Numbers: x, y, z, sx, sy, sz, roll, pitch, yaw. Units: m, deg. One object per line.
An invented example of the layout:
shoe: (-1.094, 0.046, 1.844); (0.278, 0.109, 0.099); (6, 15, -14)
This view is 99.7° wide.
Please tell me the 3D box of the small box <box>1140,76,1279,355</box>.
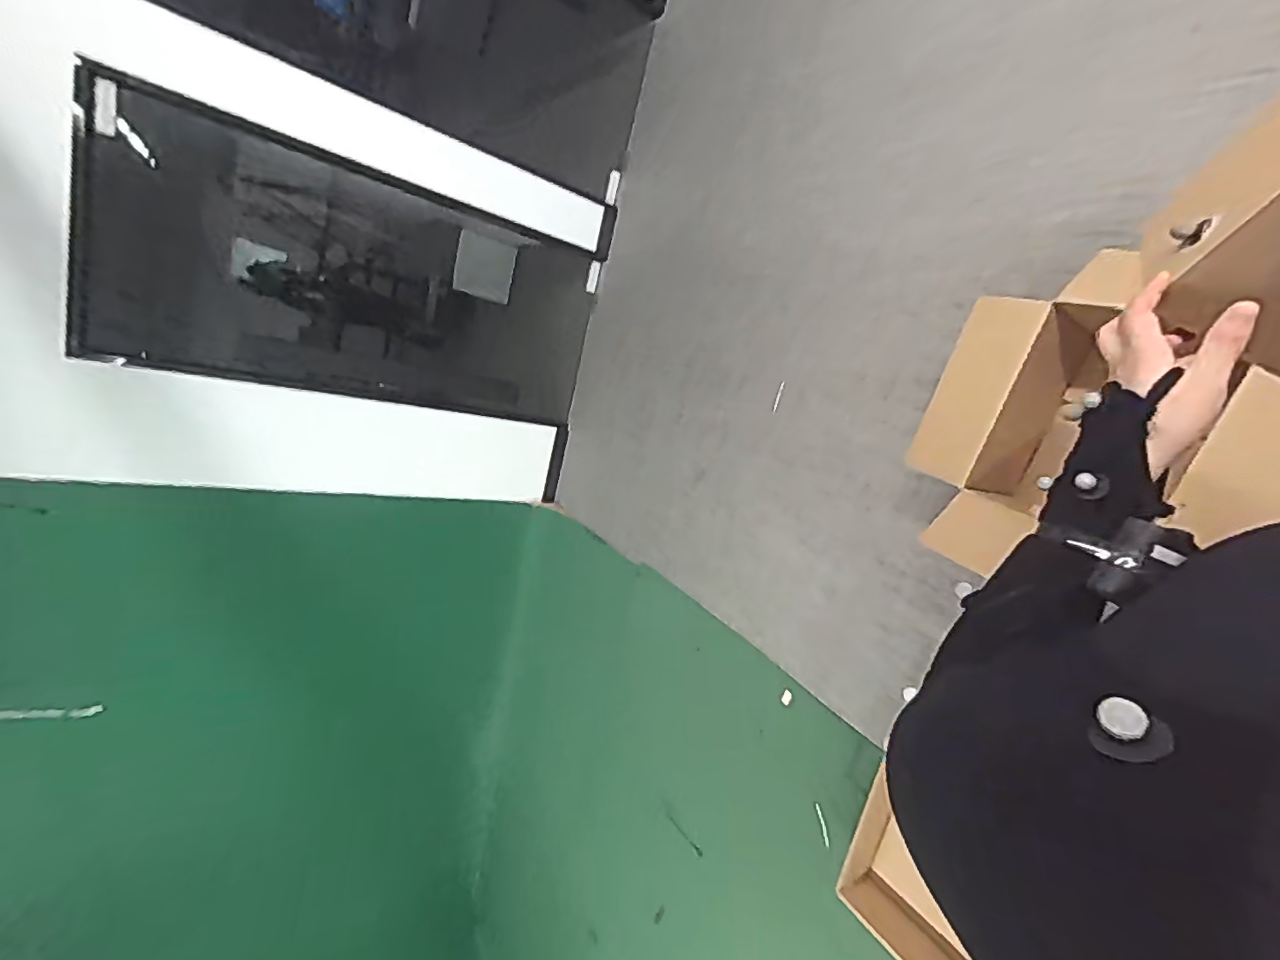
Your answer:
small box: (0.532, -0.213, 0.400); (0.168, 0.176, 0.179); (33, 145, 8)
